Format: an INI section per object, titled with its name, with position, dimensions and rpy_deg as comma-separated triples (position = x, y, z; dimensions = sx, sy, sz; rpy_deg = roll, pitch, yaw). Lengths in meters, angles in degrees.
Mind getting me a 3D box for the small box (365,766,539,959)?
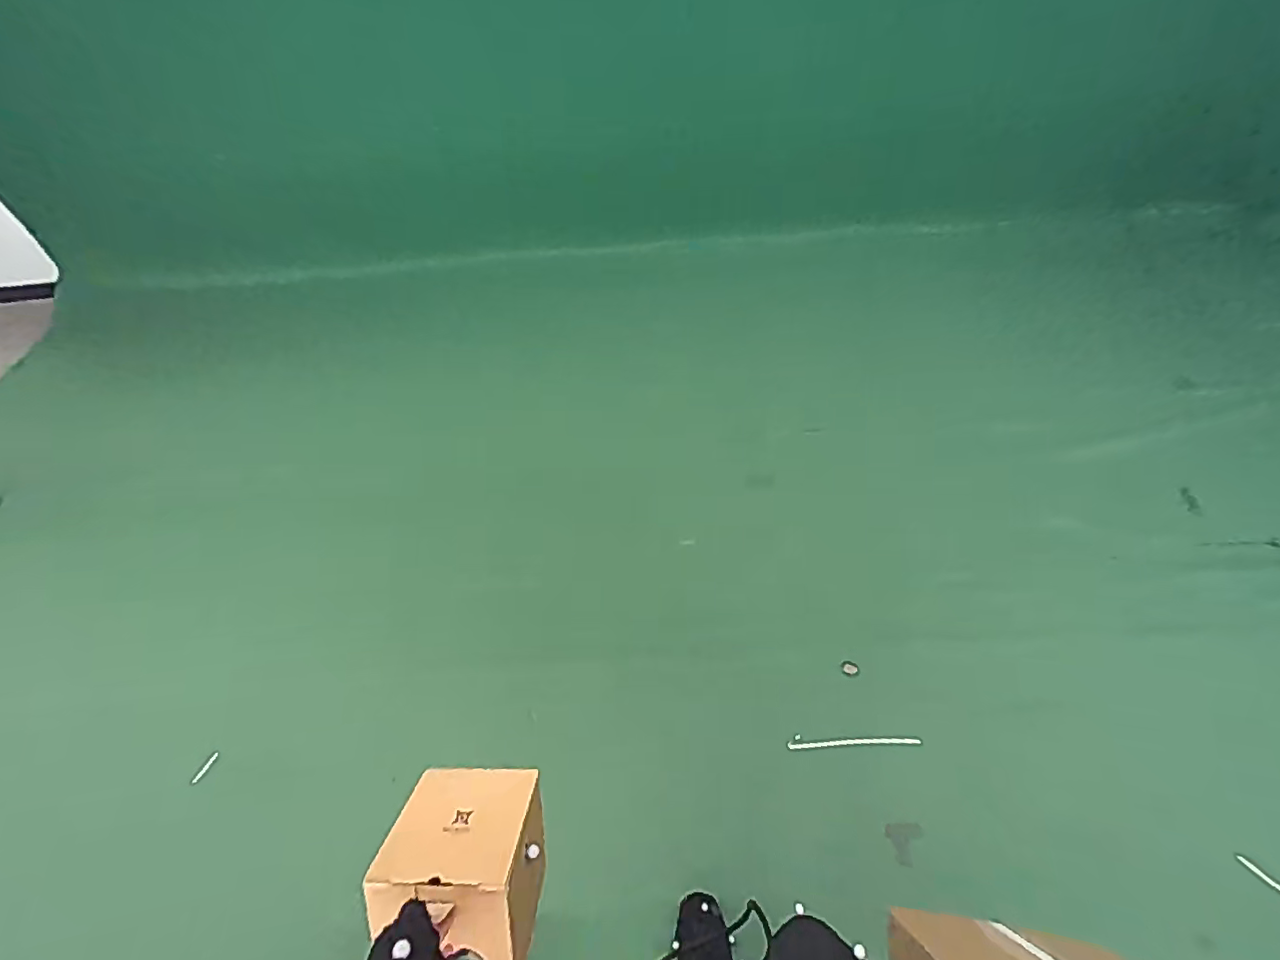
[small box]
position = -0.232, 0.514, 0.711
dimensions = 0.168, 0.176, 0.179
rpy_deg = 1, 15, 2
